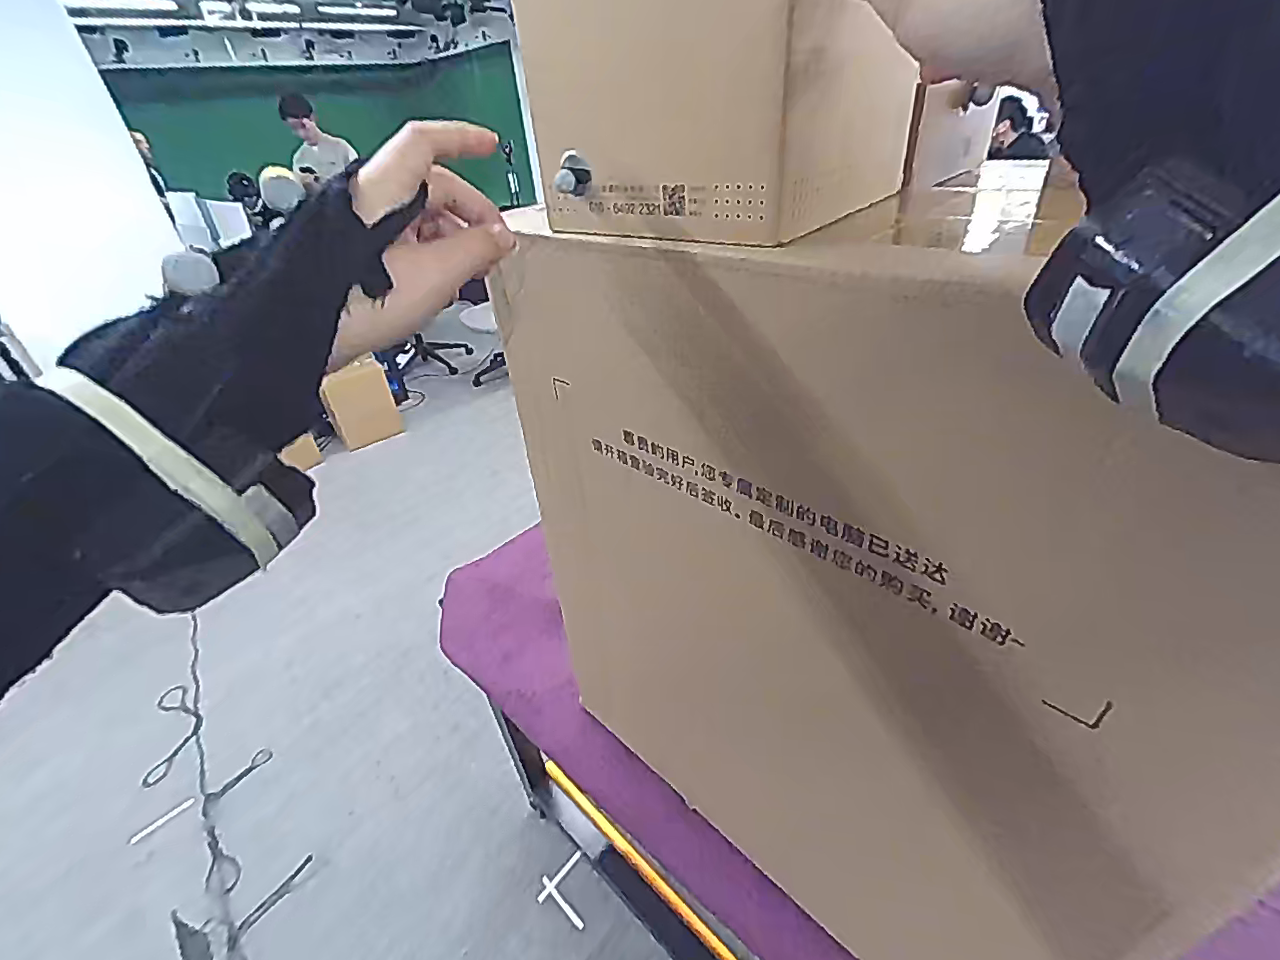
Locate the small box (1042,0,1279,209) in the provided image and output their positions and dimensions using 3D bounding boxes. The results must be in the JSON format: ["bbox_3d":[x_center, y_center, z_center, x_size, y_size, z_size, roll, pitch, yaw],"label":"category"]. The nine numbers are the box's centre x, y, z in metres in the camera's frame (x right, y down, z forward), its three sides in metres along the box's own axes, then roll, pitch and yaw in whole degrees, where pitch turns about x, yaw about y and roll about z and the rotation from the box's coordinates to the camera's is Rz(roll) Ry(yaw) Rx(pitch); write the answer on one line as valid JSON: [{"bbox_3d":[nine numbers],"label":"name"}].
[{"bbox_3d":[0.359,-0.254,0.294,0.179,0.176,0.168,20,41,35],"label":"small box"}]
